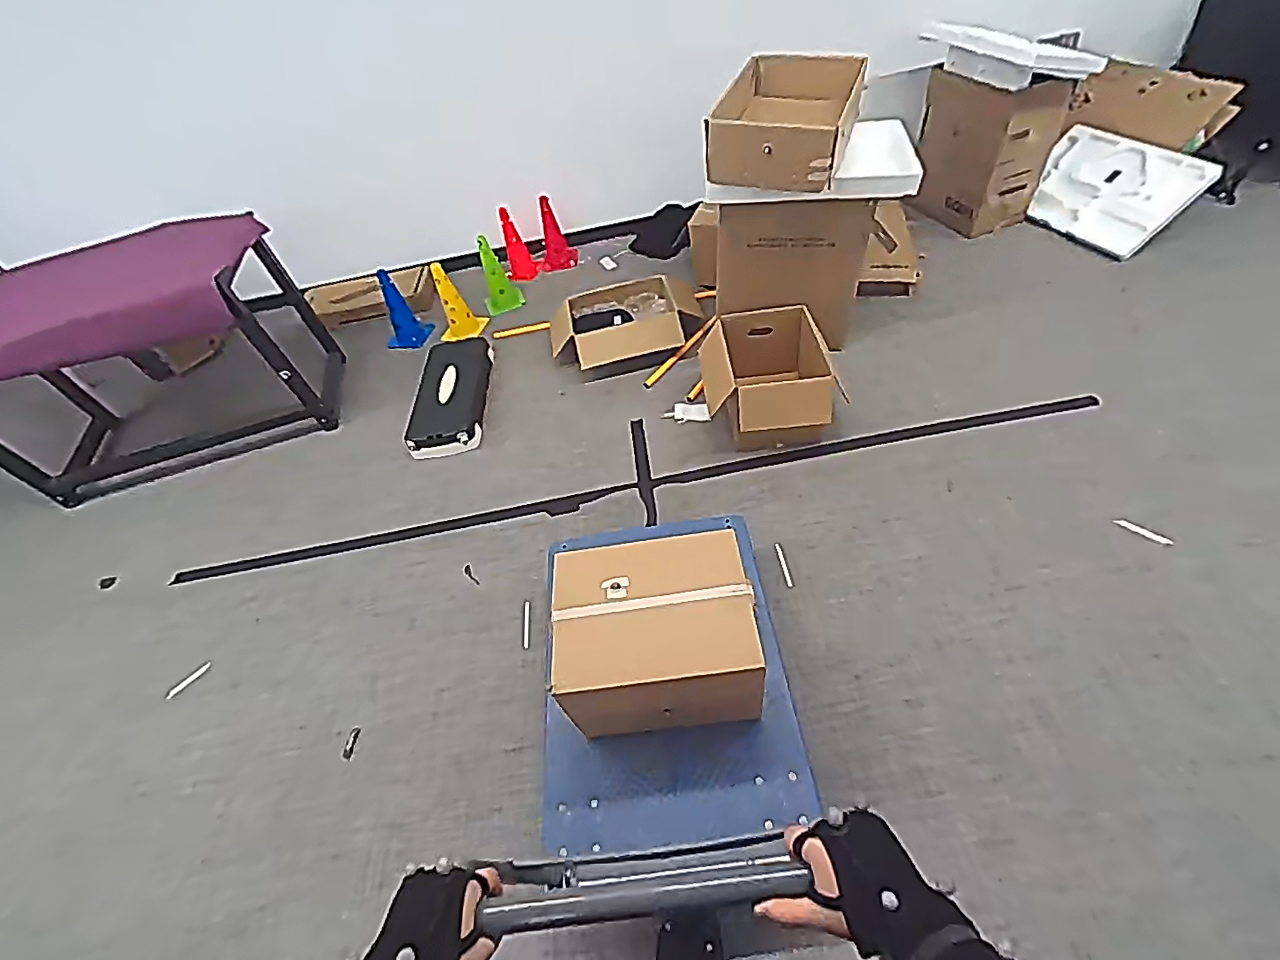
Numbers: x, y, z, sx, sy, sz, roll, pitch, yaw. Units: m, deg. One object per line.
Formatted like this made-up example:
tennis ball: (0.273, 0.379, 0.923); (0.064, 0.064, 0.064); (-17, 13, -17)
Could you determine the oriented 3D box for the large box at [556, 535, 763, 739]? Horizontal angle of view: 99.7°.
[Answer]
large box: (0.045, 0.364, 1.229); (0.408, 0.320, 0.320); (-10, 48, 4)
